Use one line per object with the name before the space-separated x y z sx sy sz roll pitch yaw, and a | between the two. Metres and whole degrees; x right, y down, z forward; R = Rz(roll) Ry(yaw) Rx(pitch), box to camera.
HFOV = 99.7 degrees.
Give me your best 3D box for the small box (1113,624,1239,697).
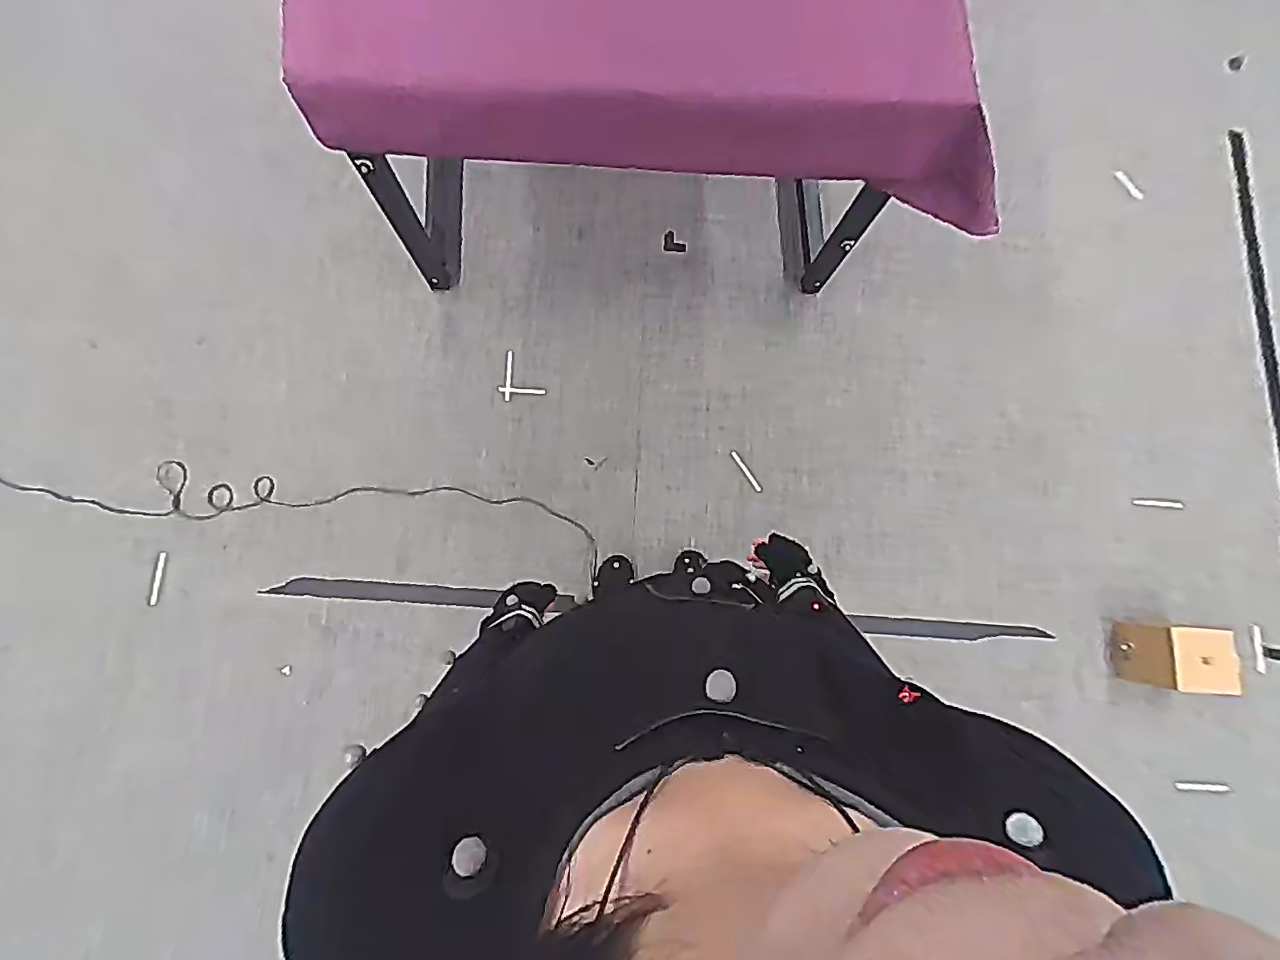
small box | 1.467 0.490 1.489 0.179 0.176 0.168 3 79 -2
